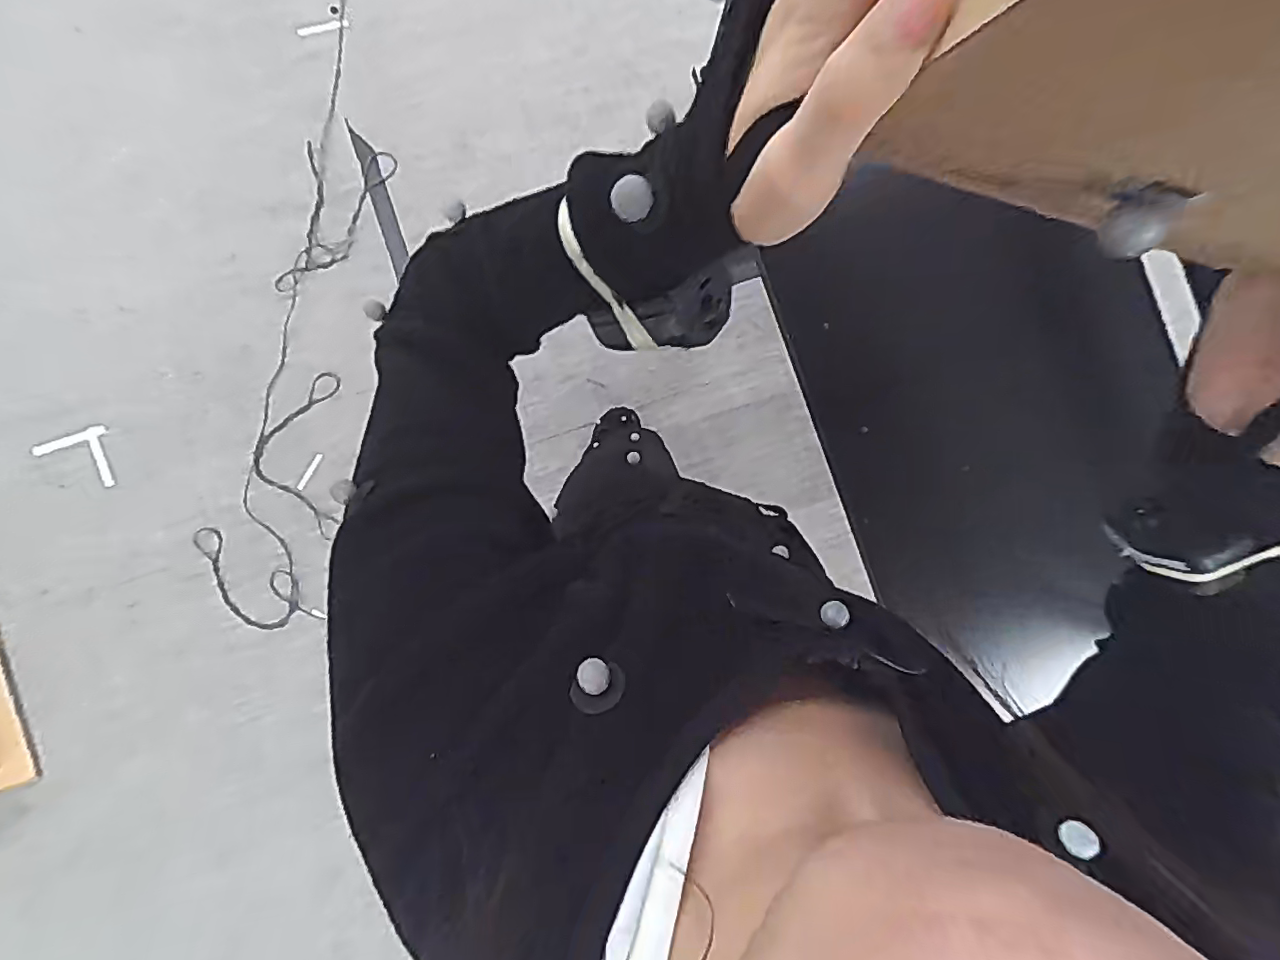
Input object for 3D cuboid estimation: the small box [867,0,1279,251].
[{"bbox_3d":[0.167,-0.149,0.087,0.168,0.176,0.179,14,112,-5],"label":"small box"}]
